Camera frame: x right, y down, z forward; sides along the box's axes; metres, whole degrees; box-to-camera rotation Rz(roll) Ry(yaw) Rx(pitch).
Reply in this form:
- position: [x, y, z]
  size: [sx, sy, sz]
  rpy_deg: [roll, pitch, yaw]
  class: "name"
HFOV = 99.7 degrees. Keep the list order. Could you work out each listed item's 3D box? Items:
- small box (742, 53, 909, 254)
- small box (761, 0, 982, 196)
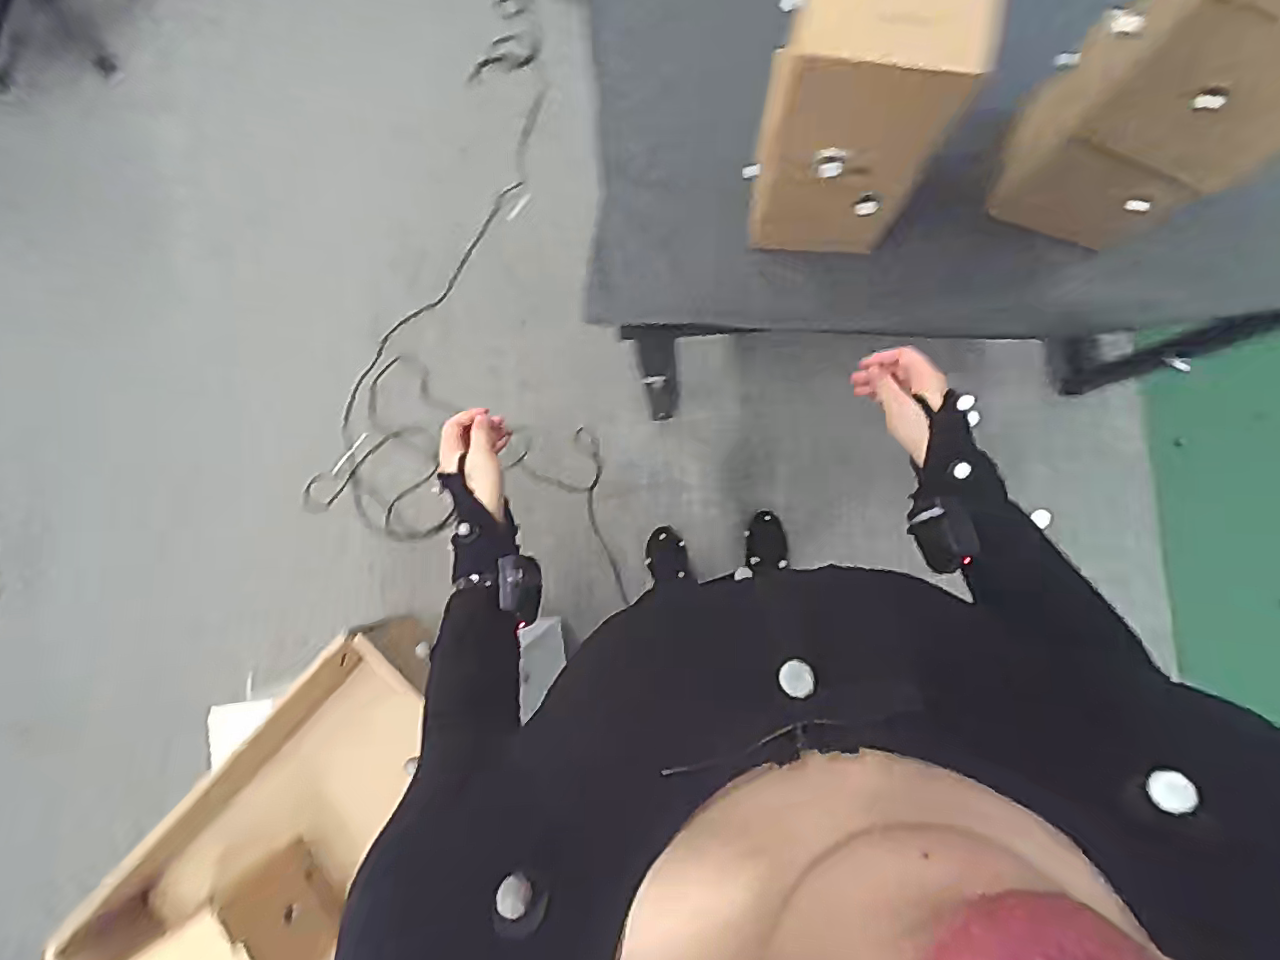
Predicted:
- position: [0.240, -0.423, 0.725]
  size: [0.179, 0.176, 0.168]
  rpy_deg: [5, 84, 4]
  class: "small box"
- position: [0.228, -0.436, 0.563]
  size: [0.168, 0.176, 0.179]
  rpy_deg: [10, 86, 6]
  class: "small box"
